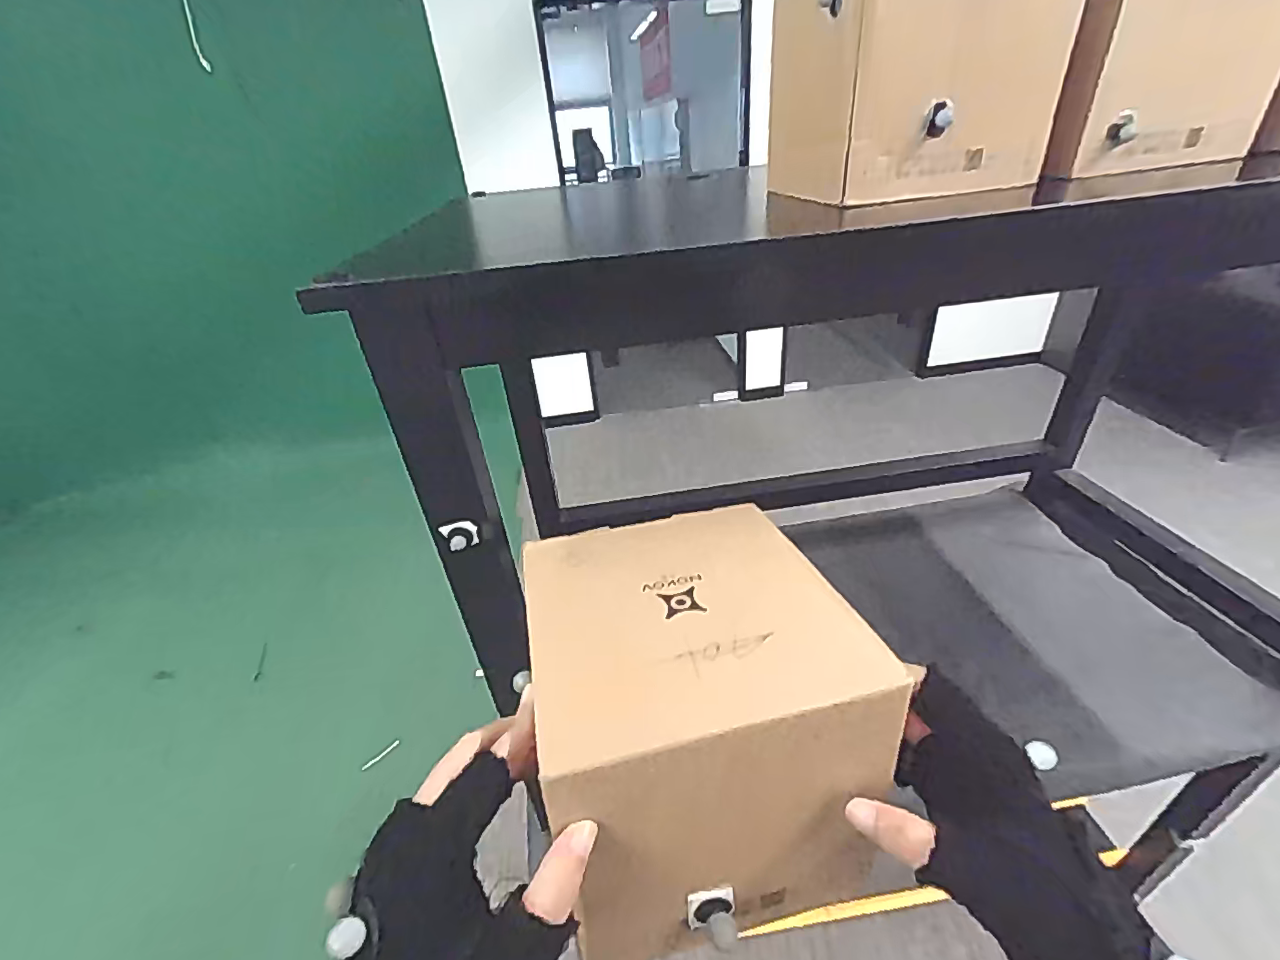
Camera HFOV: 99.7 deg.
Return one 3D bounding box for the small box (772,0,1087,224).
[{"bbox_3d":[0.221,-0.324,0.466,0.168,0.176,0.179,-8,33,-5],"label":"small box"}]
